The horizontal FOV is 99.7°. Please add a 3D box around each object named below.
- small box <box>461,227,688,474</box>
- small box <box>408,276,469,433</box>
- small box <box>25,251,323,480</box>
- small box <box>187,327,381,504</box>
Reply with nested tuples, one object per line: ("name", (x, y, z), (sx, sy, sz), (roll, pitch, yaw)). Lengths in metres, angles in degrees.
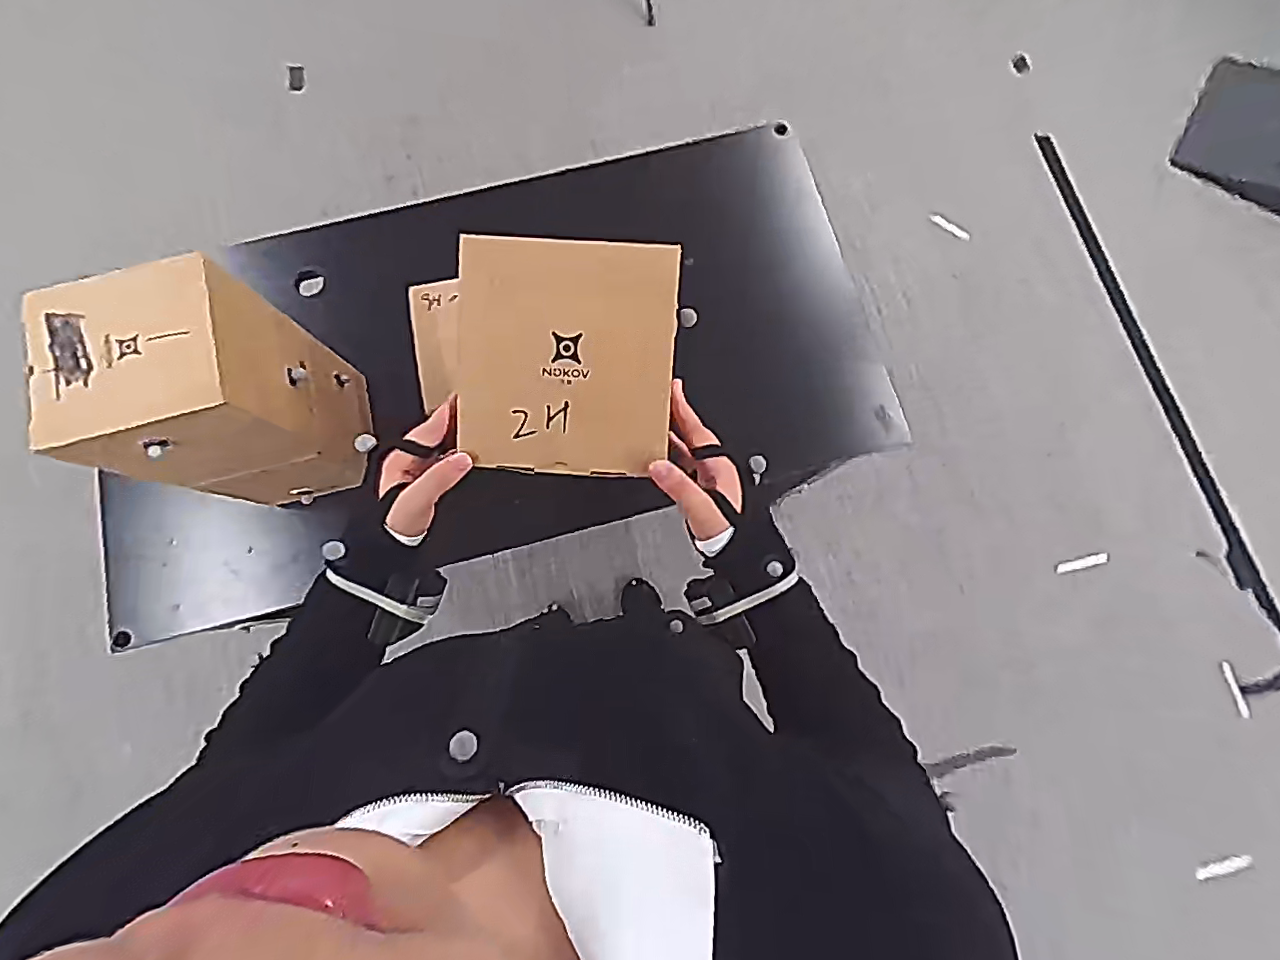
("small box", (-0.050, -0.106, 0.489), (0.168, 0.176, 0.179), (4, 98, 2))
("small box", (-0.204, -0.168, 0.765), (0.168, 0.176, 0.179), (-11, 80, -2))
("small box", (-0.485, -0.109, 0.585), (0.179, 0.176, 0.168), (-16, 79, -3))
("small box", (-0.486, -0.079, 0.747), (0.168, 0.176, 0.179), (-15, 80, -2))
